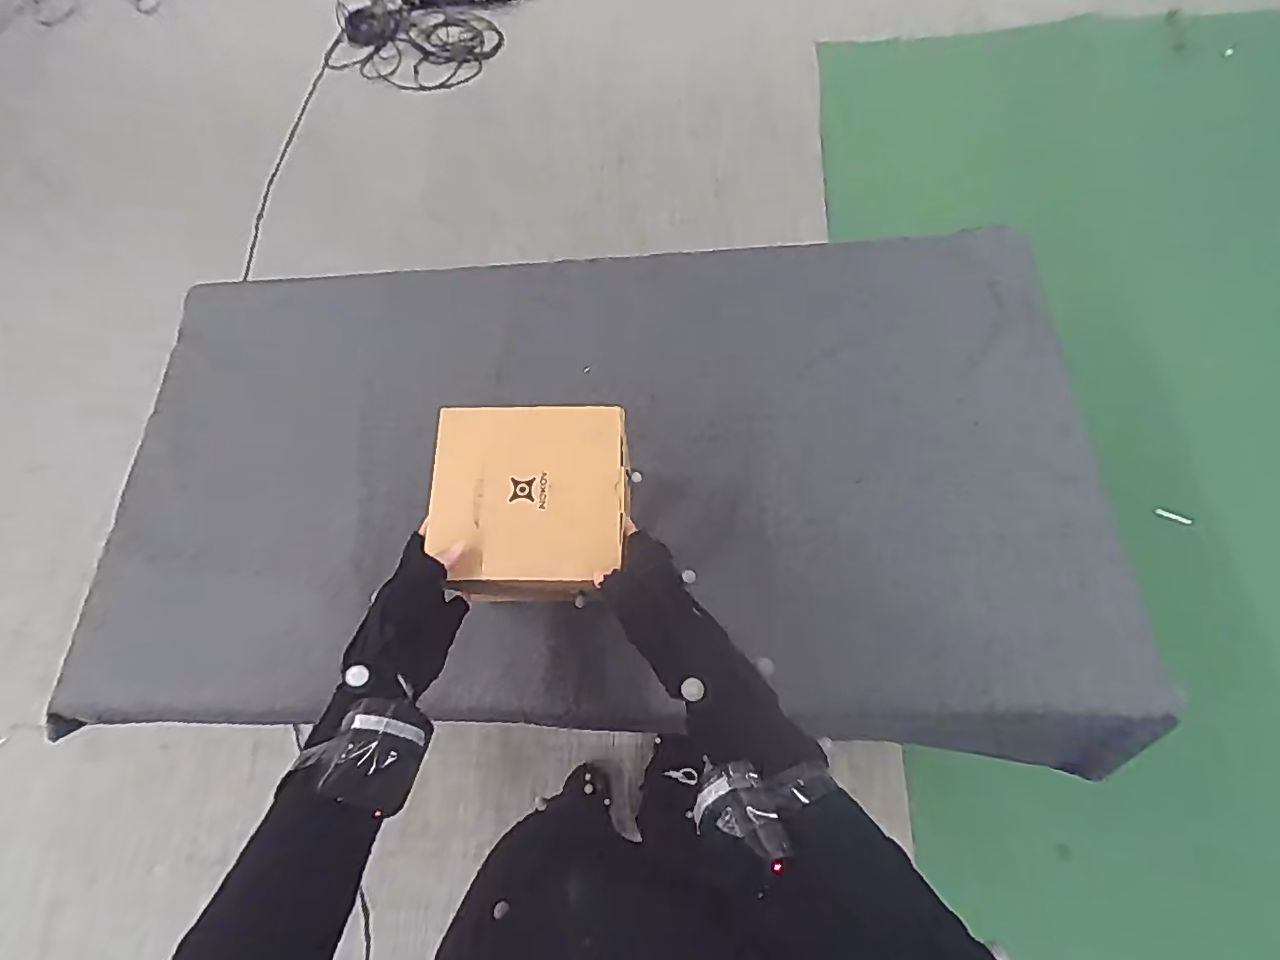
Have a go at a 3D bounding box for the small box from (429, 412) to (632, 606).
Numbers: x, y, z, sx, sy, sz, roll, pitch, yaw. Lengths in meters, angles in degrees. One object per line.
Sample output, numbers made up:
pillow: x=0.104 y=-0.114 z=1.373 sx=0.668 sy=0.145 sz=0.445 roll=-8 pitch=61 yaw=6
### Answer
small box: x=-0.098 y=0.039 z=0.572 sx=0.179 sy=0.176 sz=0.168 roll=-2 pitch=70 yaw=1
